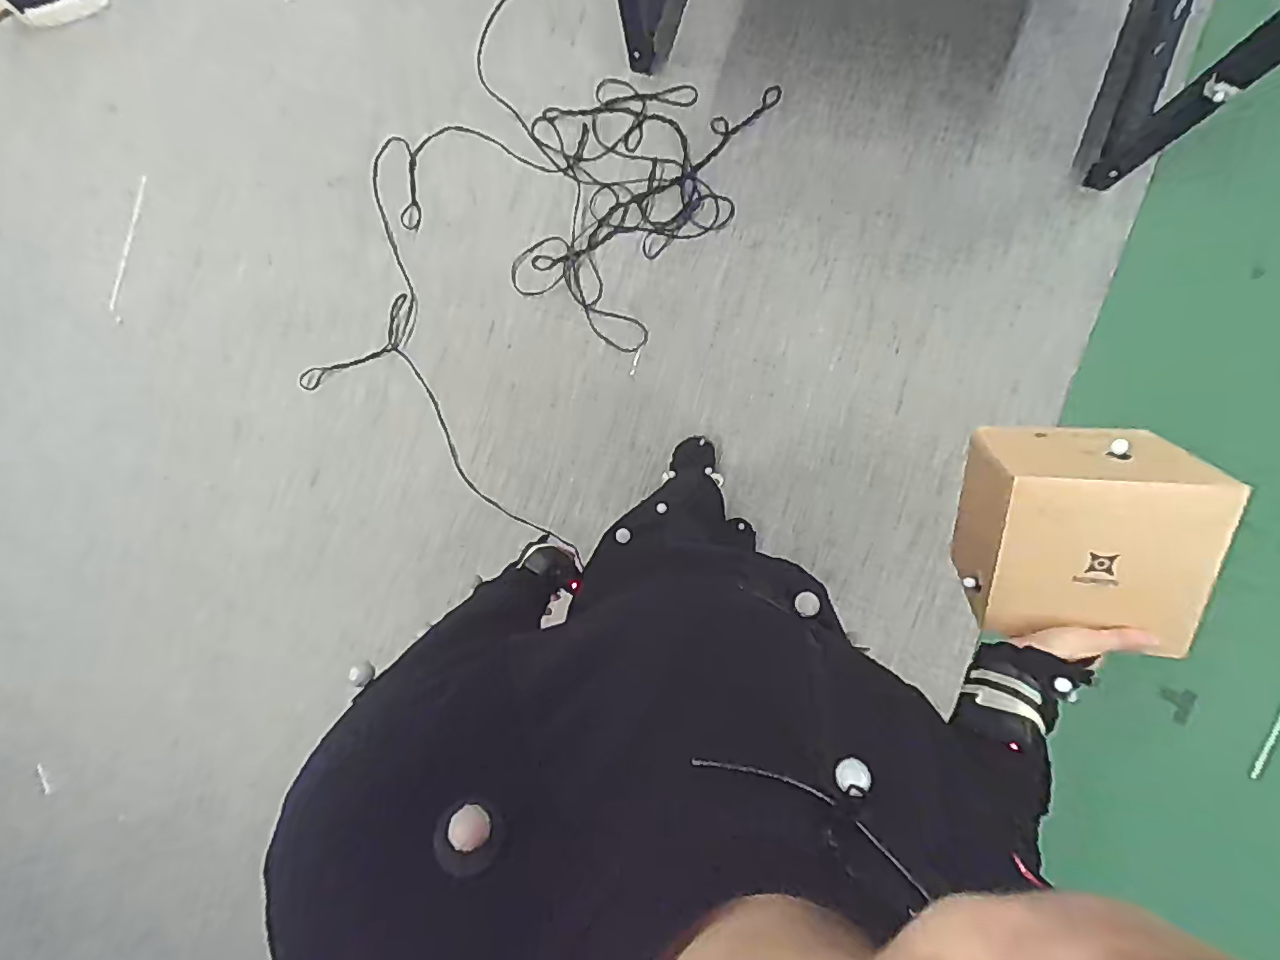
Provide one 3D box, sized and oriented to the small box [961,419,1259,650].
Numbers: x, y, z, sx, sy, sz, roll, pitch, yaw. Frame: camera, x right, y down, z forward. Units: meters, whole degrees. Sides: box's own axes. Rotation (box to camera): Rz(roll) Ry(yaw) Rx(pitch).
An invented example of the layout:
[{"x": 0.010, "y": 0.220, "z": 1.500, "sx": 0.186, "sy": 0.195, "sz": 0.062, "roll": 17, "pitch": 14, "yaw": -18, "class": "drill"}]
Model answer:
[{"x": 0.445, "y": 0.041, "z": 0.553, "sx": 0.168, "sy": 0.176, "sz": 0.179, "roll": 3, "pitch": 114, "yaw": 19, "class": "small box"}]
